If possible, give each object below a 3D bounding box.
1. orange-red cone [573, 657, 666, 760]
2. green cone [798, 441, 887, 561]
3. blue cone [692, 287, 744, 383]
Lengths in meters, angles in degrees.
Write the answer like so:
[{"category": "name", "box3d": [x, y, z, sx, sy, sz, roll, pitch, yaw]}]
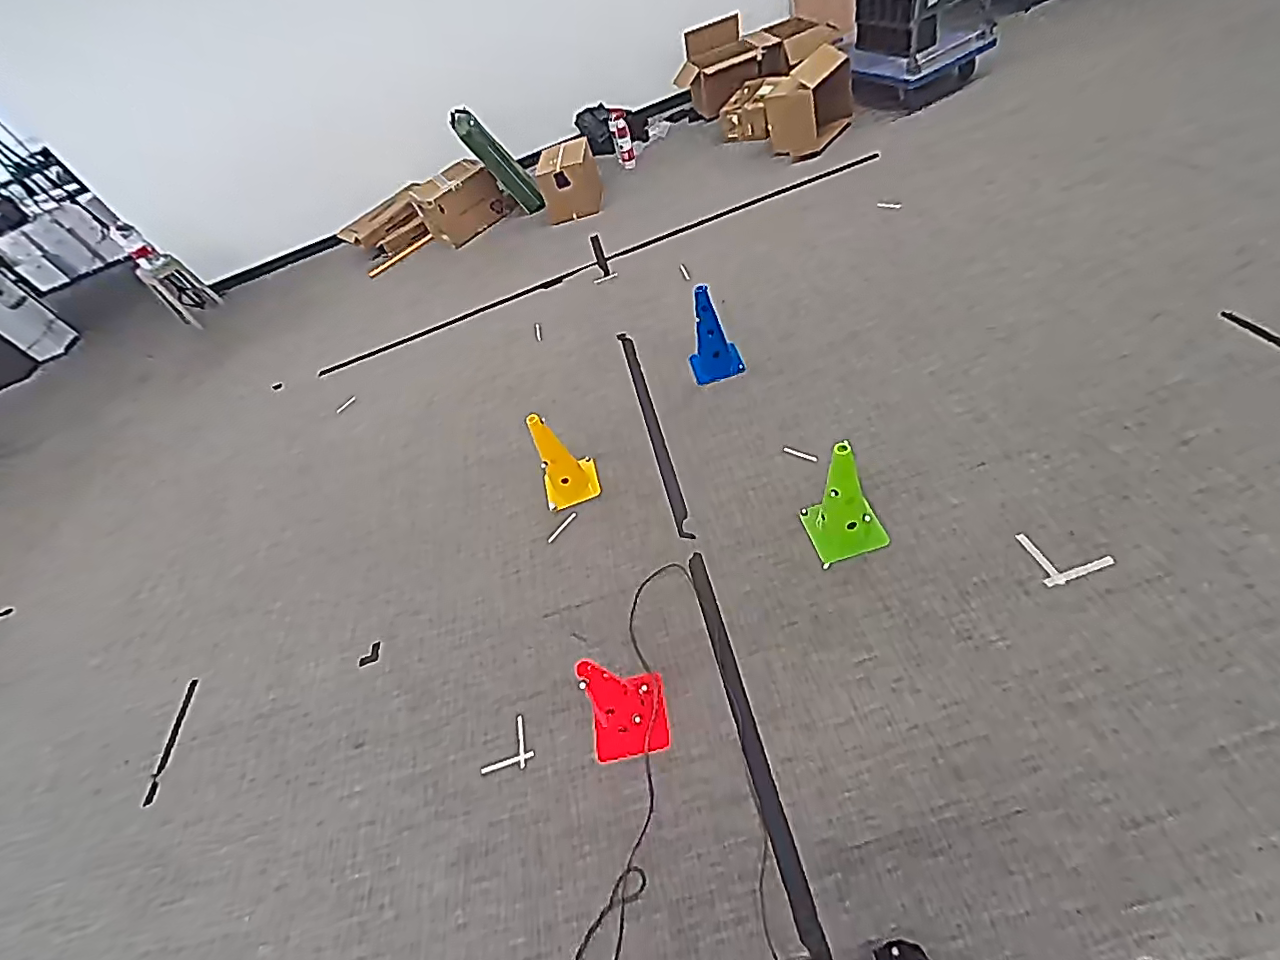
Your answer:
[{"category": "orange-red cone", "box3d": [-0.082, 0.518, 1.309, 0.199, 0.360, 0.198, -17, 47, 8]}, {"category": "green cone", "box3d": [0.550, 0.032, 1.474, 0.202, 0.368, 0.200, -18, 48, 4]}, {"category": "blue cone", "box3d": [0.273, -0.578, 2.105, 0.192, 0.380, 0.193, -16, 48, 6]}]
